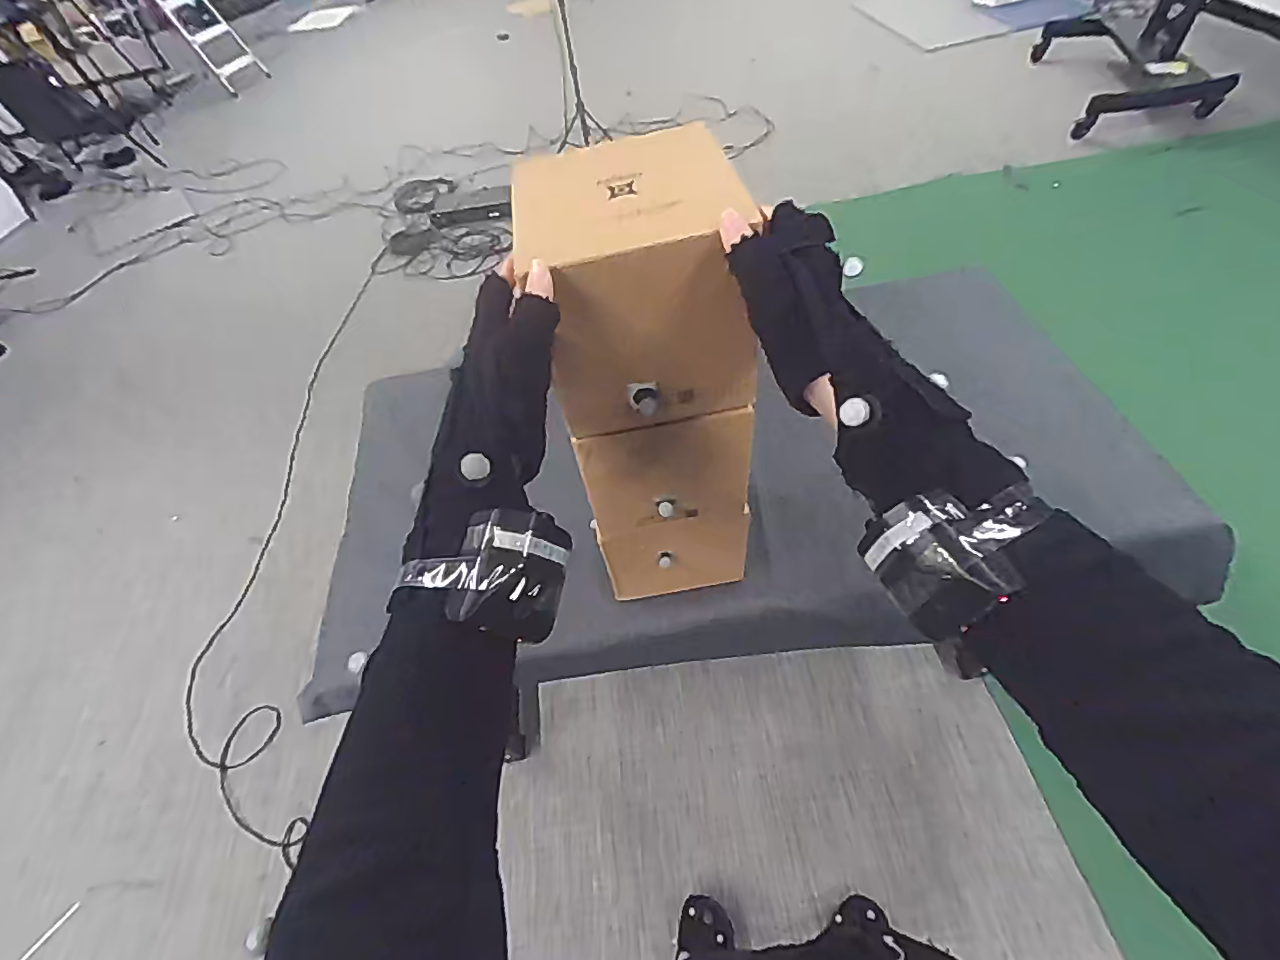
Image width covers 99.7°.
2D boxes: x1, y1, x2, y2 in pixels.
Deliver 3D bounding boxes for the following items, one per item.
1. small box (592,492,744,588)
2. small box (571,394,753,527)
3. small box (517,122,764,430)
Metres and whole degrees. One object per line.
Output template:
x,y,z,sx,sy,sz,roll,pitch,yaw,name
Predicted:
0.036,0.029,0.722,0.179,0.176,0.168,-10,53,1,small box
0.018,-0.072,0.593,0.168,0.176,0.179,-9,54,1,small box
-0.001,-0.170,0.463,0.168,0.176,0.179,-11,53,1,small box
